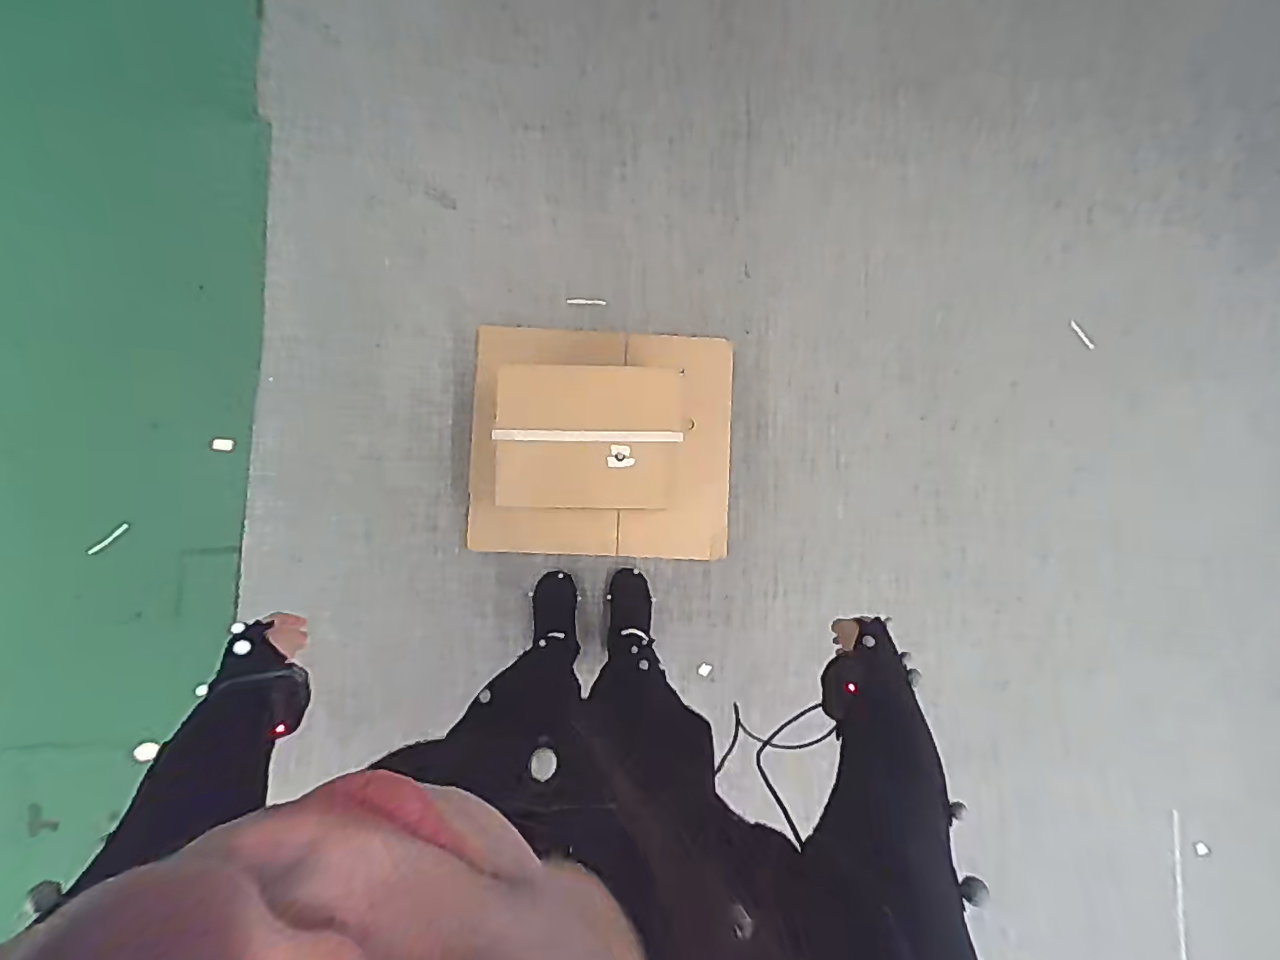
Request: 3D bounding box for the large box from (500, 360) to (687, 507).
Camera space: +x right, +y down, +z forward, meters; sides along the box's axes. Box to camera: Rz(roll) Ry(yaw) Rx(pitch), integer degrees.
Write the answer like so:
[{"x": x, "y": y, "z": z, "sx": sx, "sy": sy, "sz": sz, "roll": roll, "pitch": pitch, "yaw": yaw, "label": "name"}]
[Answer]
[{"x": -0.109, "y": -0.095, "z": 1.306, "sx": 0.408, "sy": 0.320, "sz": 0.320, "roll": 1, "pitch": 87, "yaw": -3, "label": "large box"}]
